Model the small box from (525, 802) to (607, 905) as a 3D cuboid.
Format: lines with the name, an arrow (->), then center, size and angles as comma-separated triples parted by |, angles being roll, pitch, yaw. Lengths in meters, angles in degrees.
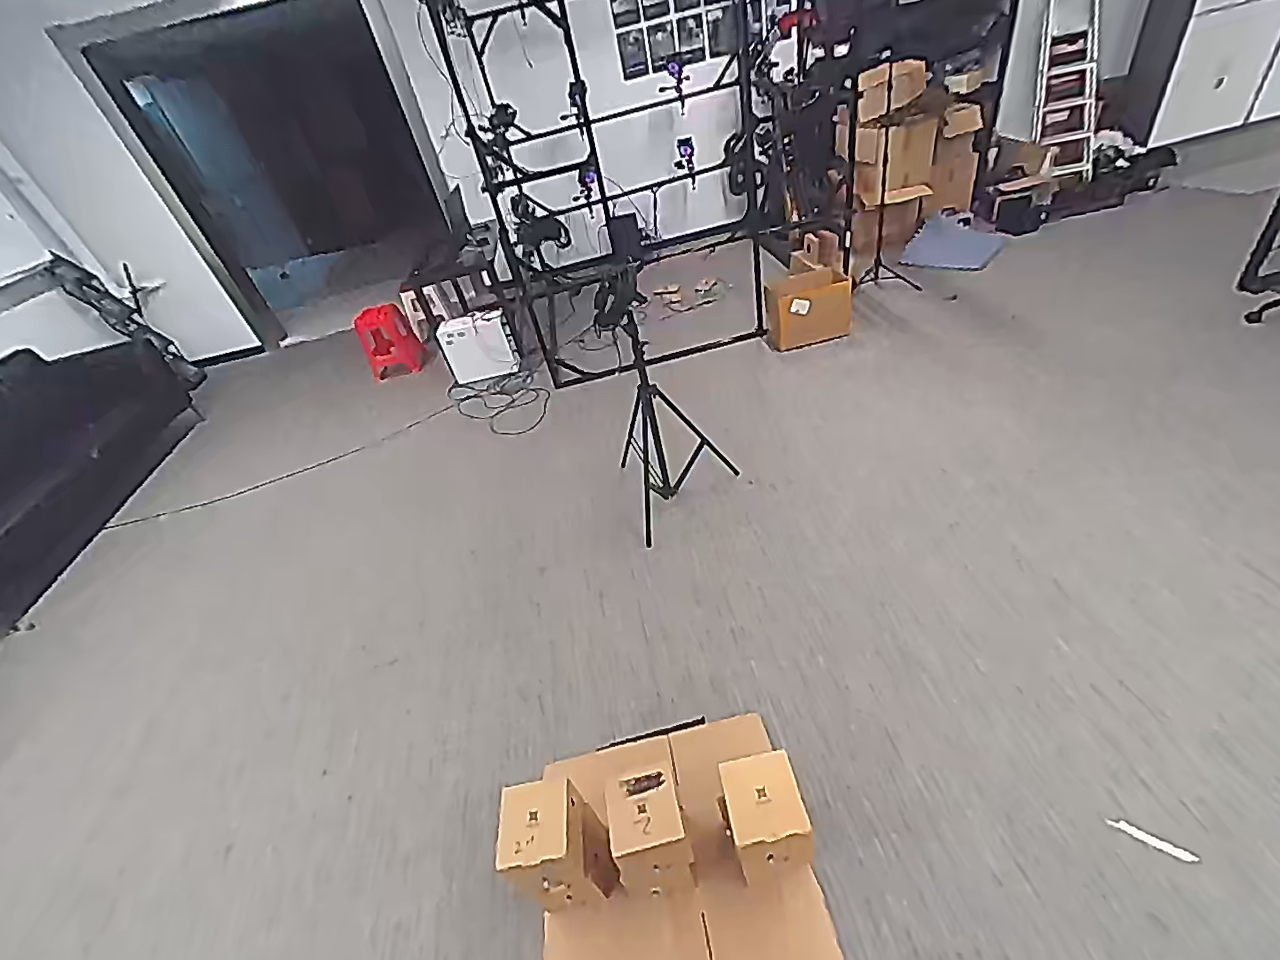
small box -> -0.187, 0.969, 1.396 | 0.168, 0.176, 0.179 | -14, 39, 2

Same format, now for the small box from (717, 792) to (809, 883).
small box -> 0.312, 0.871, 1.358 | 0.179, 0.176, 0.168 | -20, 39, -7

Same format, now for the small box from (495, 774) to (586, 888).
small box -> -0.231, 0.843, 1.299 | 0.168, 0.176, 0.179 | -13, 39, 3

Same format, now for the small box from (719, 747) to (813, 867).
small box -> 0.286, 0.754, 1.247 | 0.168, 0.176, 0.179 | -14, 39, 1

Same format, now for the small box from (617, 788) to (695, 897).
small box -> 0.039, 0.925, 1.379 | 0.168, 0.176, 0.179 | -12, 39, 3
